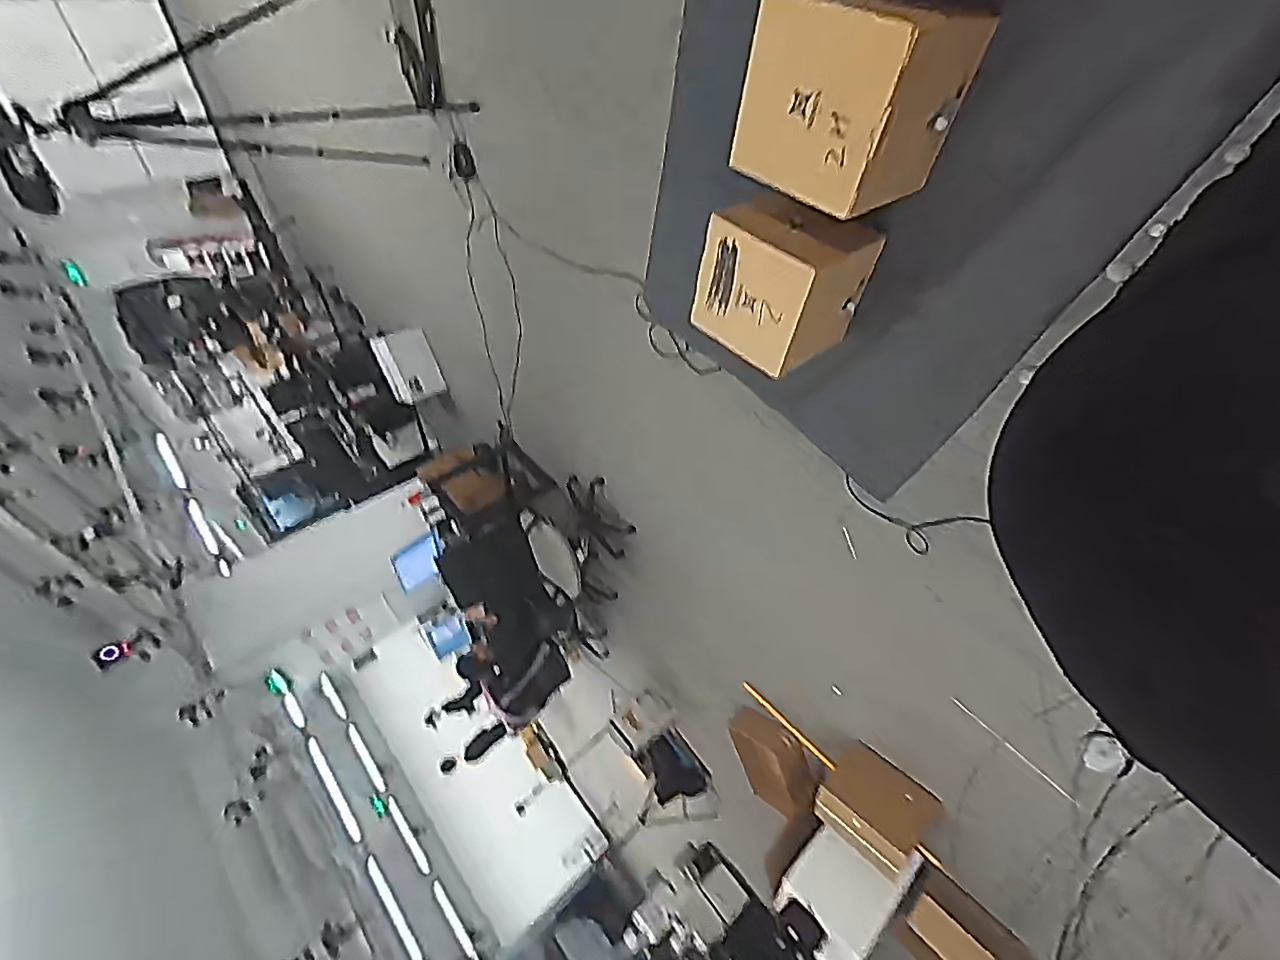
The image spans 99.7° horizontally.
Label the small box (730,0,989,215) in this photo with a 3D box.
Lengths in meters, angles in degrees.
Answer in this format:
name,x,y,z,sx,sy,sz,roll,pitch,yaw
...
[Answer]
name,x,y,z,sx,sy,sz,roll,pitch,yaw
small box,0.234,-0.425,0.601,0.179,0.176,0.168,42,147,26
